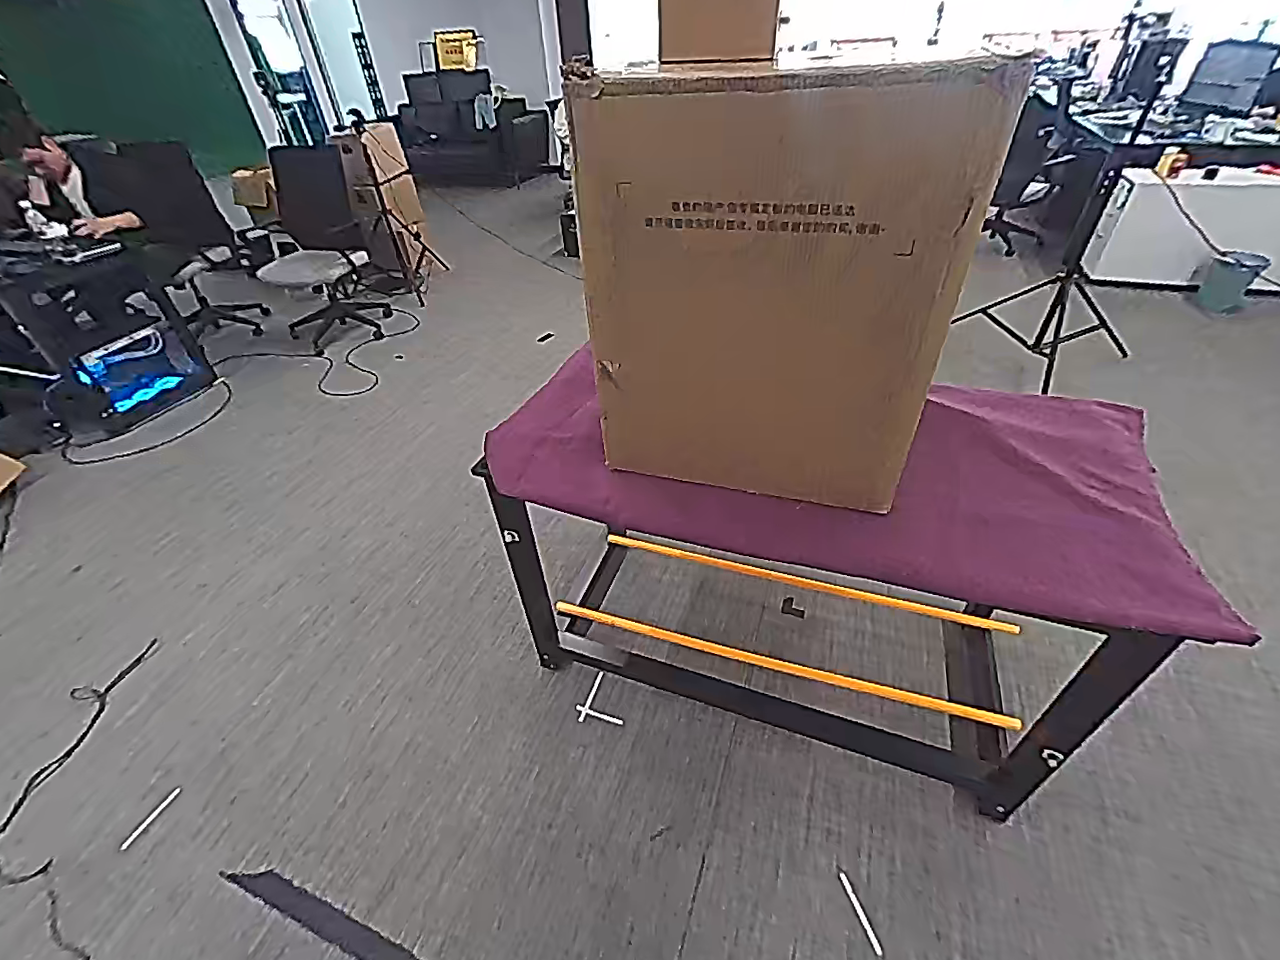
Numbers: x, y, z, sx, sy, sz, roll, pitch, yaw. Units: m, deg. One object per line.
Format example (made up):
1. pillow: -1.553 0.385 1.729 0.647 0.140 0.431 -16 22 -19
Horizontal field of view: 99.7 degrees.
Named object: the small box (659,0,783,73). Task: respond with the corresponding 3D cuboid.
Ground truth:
1. small box: 0.121 -0.700 0.778 0.168 0.176 0.179 8 41 11
